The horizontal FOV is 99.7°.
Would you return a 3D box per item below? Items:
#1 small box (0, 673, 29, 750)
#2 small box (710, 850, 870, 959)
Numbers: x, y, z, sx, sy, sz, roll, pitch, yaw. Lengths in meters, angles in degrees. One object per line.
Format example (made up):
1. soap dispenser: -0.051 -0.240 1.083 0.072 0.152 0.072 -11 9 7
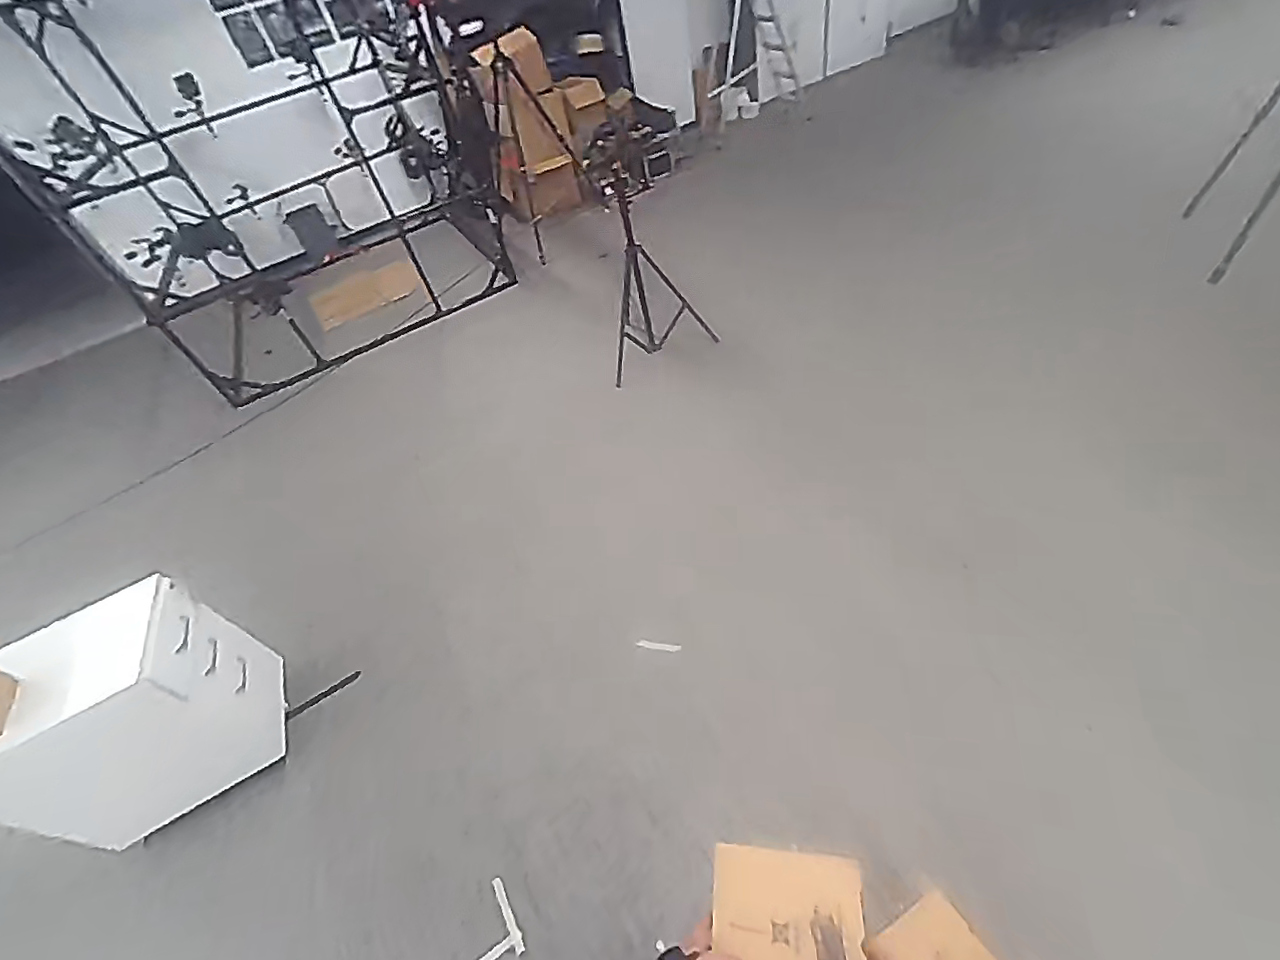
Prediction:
1. small box: -1.644 0.572 1.293 0.168 0.176 0.179 -30 46 -12
2. small box: 0.181 0.573 0.668 0.179 0.176 0.168 -2 50 12
